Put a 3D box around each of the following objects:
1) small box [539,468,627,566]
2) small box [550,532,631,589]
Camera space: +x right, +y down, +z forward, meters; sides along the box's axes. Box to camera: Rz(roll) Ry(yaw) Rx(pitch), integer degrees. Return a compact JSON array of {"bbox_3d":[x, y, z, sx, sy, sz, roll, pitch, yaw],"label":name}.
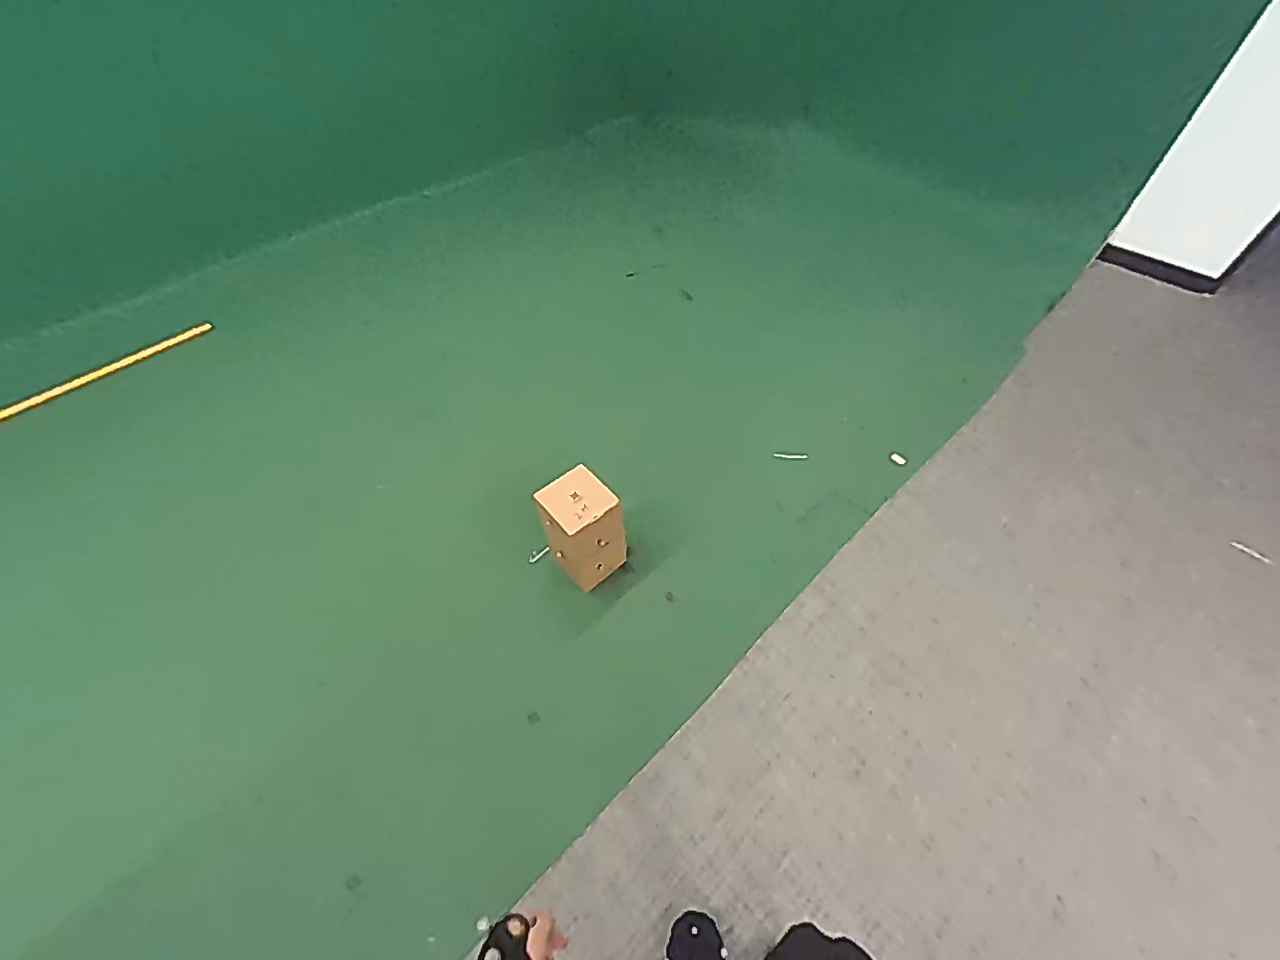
[{"bbox_3d":[-0.152,0.106,1.496,0.168,0.176,0.179,-36,58,-21],"label":"small box"},{"bbox_3d":[-0.141,0.205,1.628,0.168,0.176,0.179,-38,58,-23],"label":"small box"}]
